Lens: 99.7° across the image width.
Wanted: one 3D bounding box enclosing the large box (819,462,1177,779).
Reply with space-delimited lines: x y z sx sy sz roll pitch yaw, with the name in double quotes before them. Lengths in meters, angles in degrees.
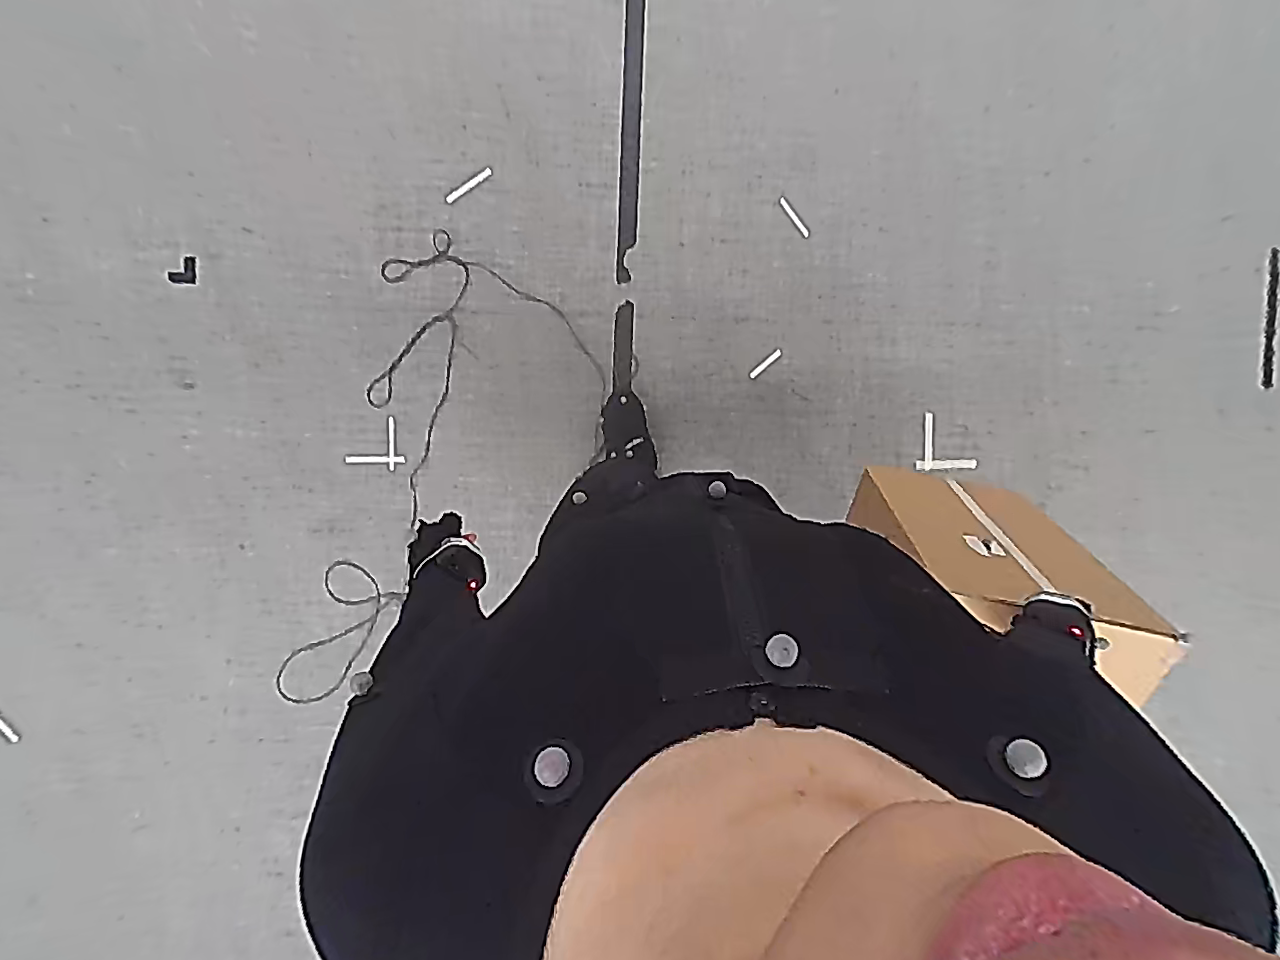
"large box" 0.540 0.214 0.941 0.320 0.408 0.320 11 118 2
